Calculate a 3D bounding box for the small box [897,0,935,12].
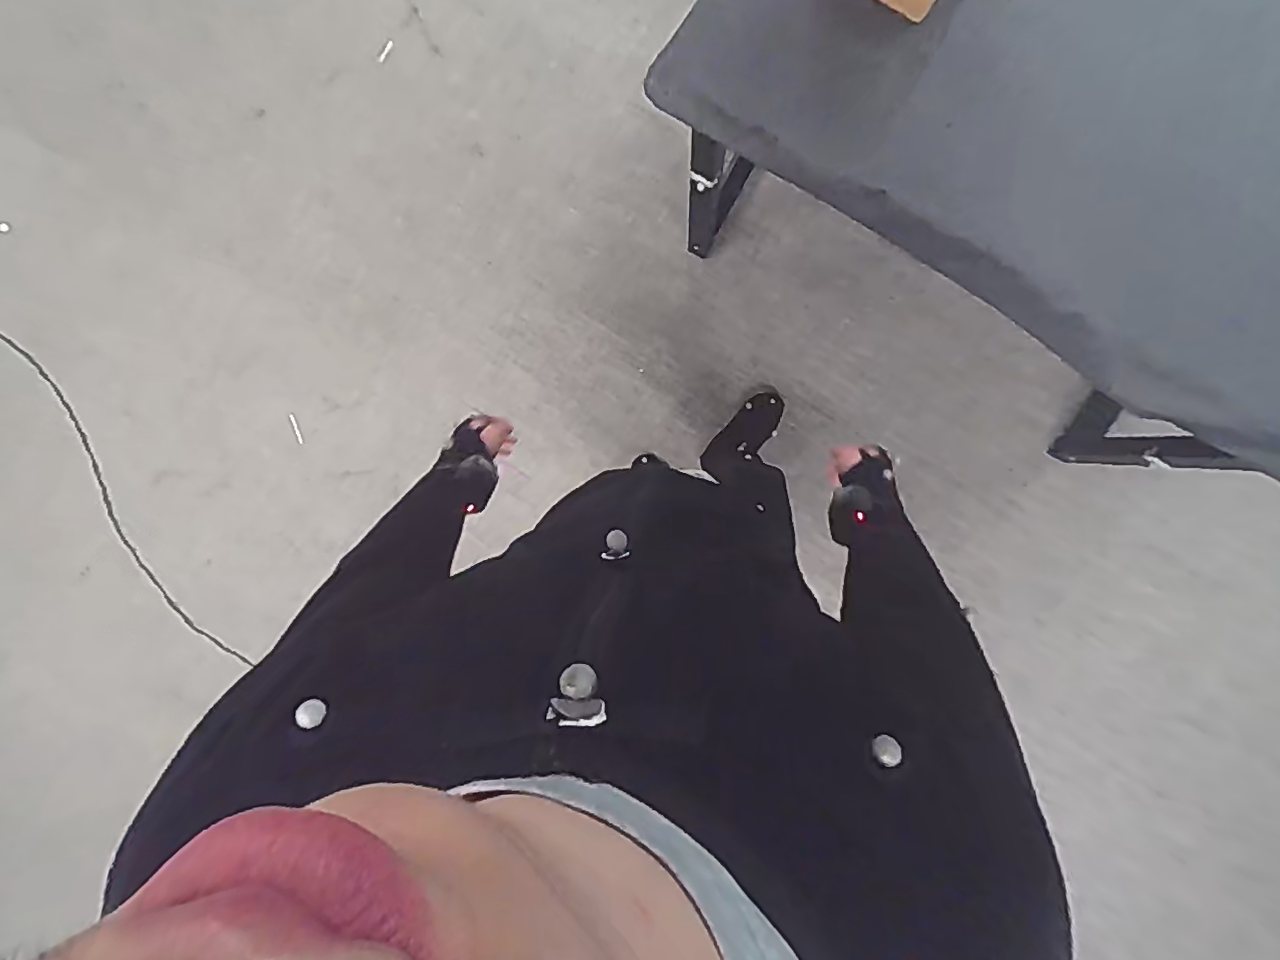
[{"bbox_3d":[0.362,-0.744,0.661,0.168,0.176,0.179,32,96,0],"label":"small box"}]
